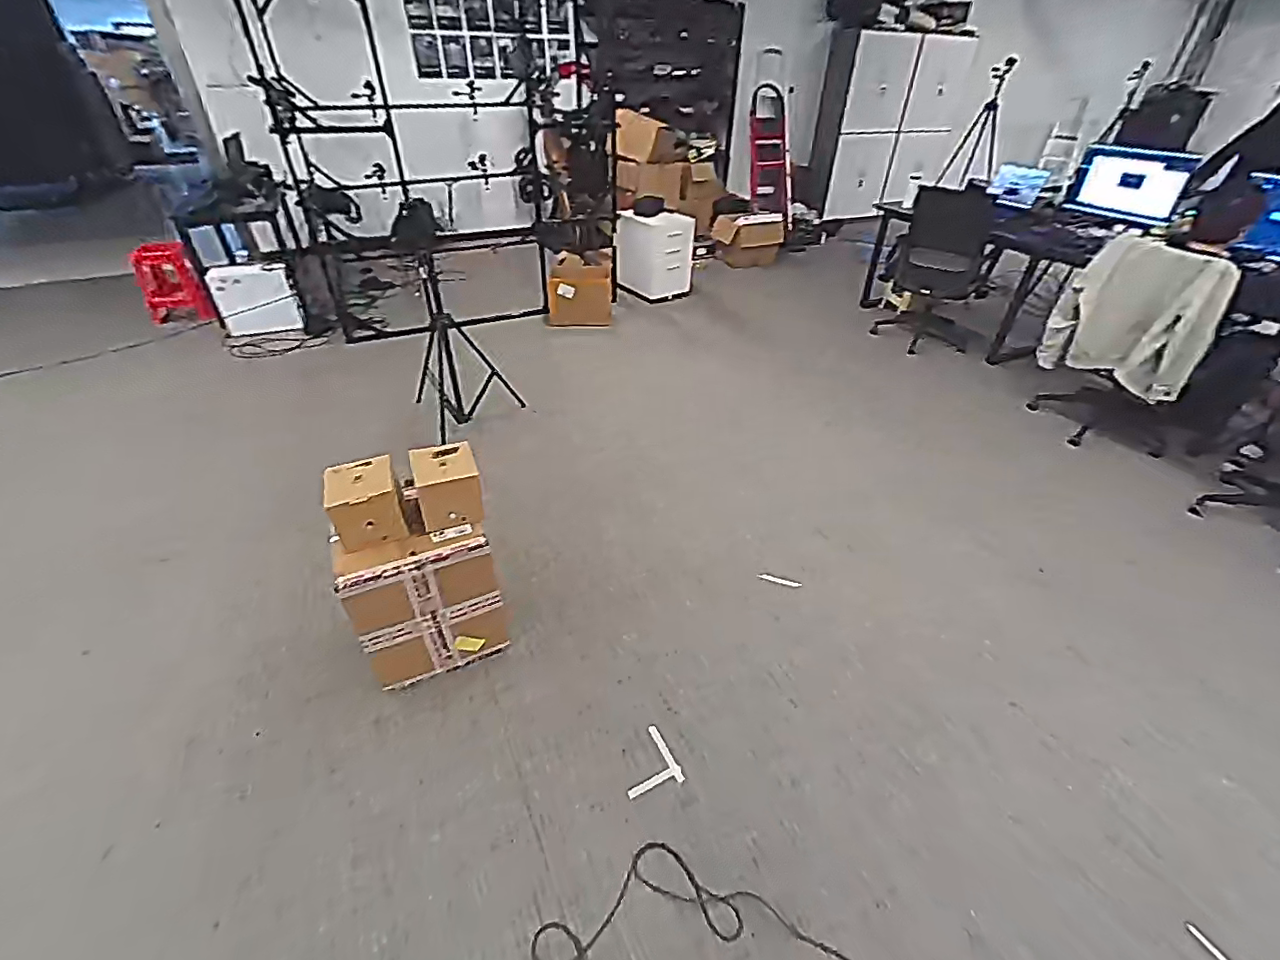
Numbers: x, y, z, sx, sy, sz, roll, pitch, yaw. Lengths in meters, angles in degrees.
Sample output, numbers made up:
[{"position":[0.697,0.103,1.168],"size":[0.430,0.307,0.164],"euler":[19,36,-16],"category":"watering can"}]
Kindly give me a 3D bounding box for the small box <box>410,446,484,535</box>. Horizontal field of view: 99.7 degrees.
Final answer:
[{"position":[-0.550,0.028,1.545],"size":[0.168,0.176,0.179],"euler":[-13,42,-21],"category":"small box"}]

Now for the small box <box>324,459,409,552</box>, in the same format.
[{"position":[-0.742,0.075,1.475],"size":[0.168,0.176,0.179],"euler":[-15,42,-18],"category":"small box"}]
